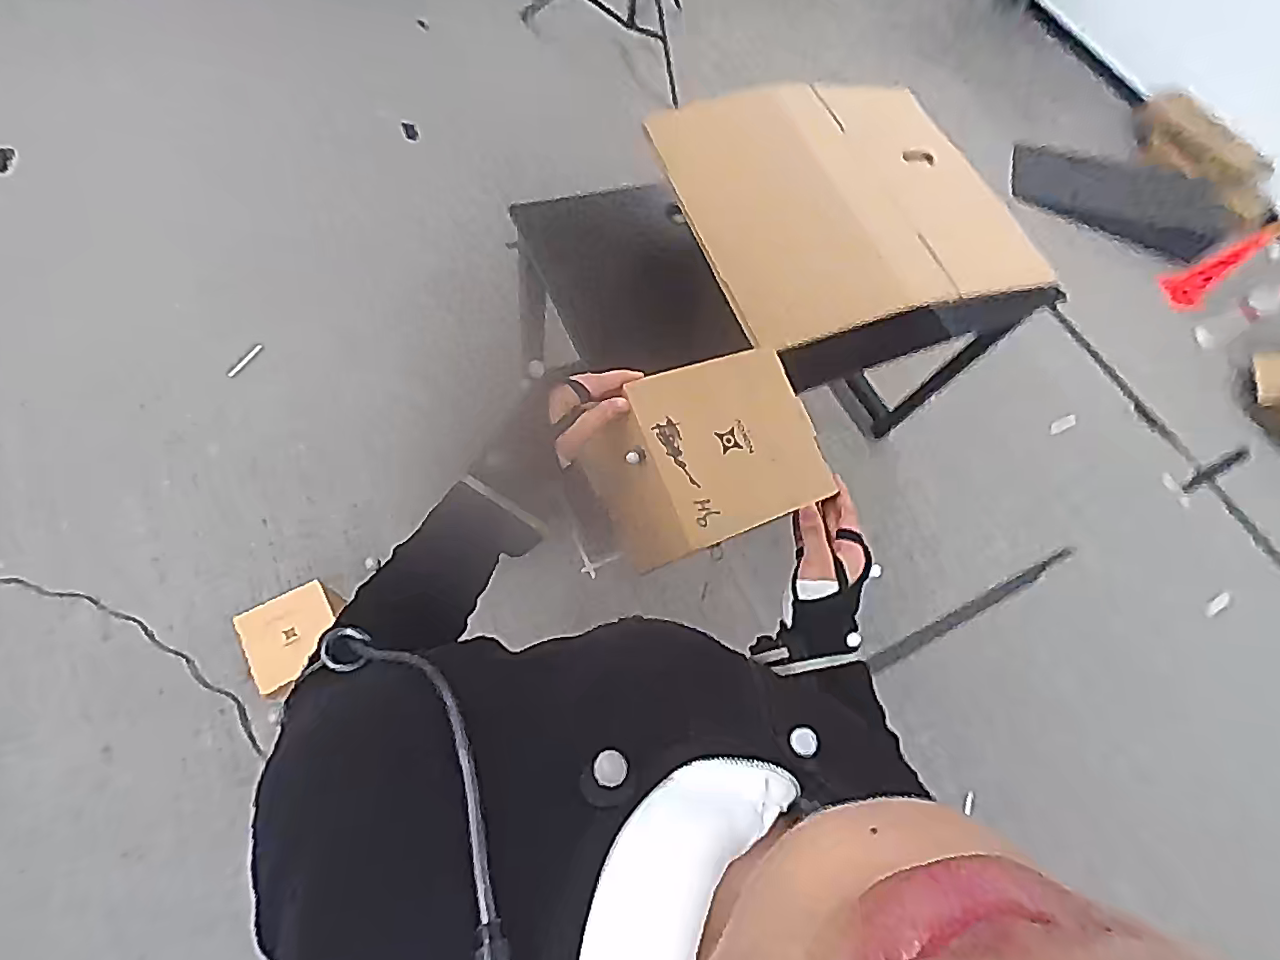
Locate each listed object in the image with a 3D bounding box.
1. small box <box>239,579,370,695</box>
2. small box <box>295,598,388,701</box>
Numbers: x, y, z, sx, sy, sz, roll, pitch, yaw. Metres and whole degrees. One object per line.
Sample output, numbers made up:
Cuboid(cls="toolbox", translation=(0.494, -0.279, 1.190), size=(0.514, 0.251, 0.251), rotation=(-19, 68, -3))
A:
Cuboid(cls="small box", translation=(-0.709, 0.341, 1.161), size=(0.168, 0.176, 0.179), rotation=(-26, 72, -22))
Cuboid(cls="small box", translation=(-0.735, 0.414, 1.305), size=(0.168, 0.176, 0.179), rotation=(-24, 73, -20))
